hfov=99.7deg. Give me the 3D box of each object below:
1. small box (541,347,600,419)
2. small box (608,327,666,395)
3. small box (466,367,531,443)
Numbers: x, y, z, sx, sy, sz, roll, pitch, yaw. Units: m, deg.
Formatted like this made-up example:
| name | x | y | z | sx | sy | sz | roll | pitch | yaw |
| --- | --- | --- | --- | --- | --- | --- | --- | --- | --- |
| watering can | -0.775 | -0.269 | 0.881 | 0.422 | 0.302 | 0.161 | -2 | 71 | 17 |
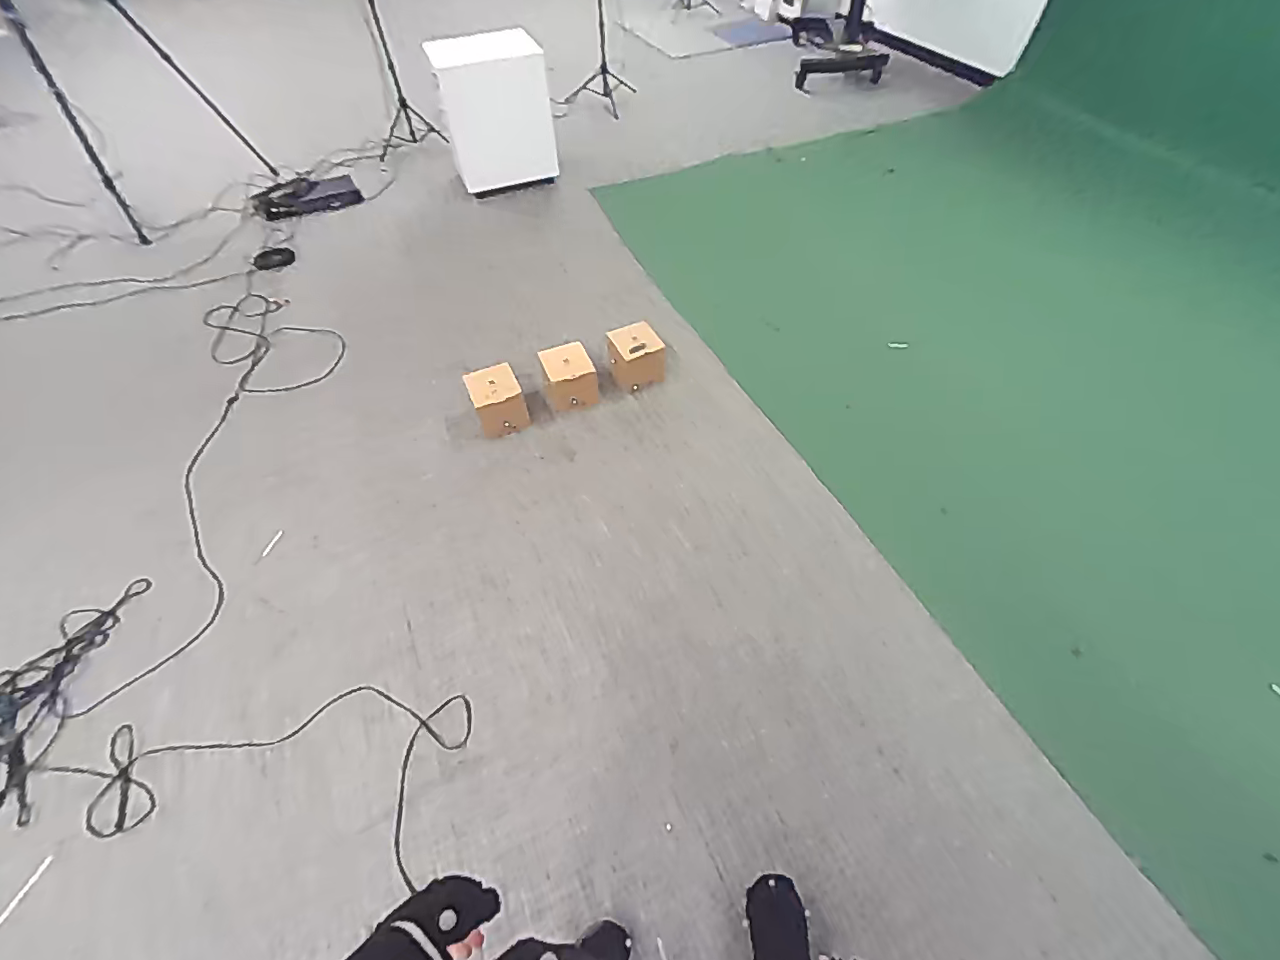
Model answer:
| name | x | y | z | sx | sy | sz | roll | pitch | yaw |
| --- | --- | --- | --- | --- | --- | --- | --- | --- | --- |
| small box | -0.254 | -0.353 | 1.981 | 0.168 | 0.176 | 0.179 | -19 | 56 | -14 |
| small box | -0.010 | -0.444 | 2.047 | 0.168 | 0.176 | 0.179 | -22 | 56 | -15 |
| small box | -0.498 | -0.264 | 1.913 | 0.168 | 0.176 | 0.179 | -21 | 56 | -13 |
